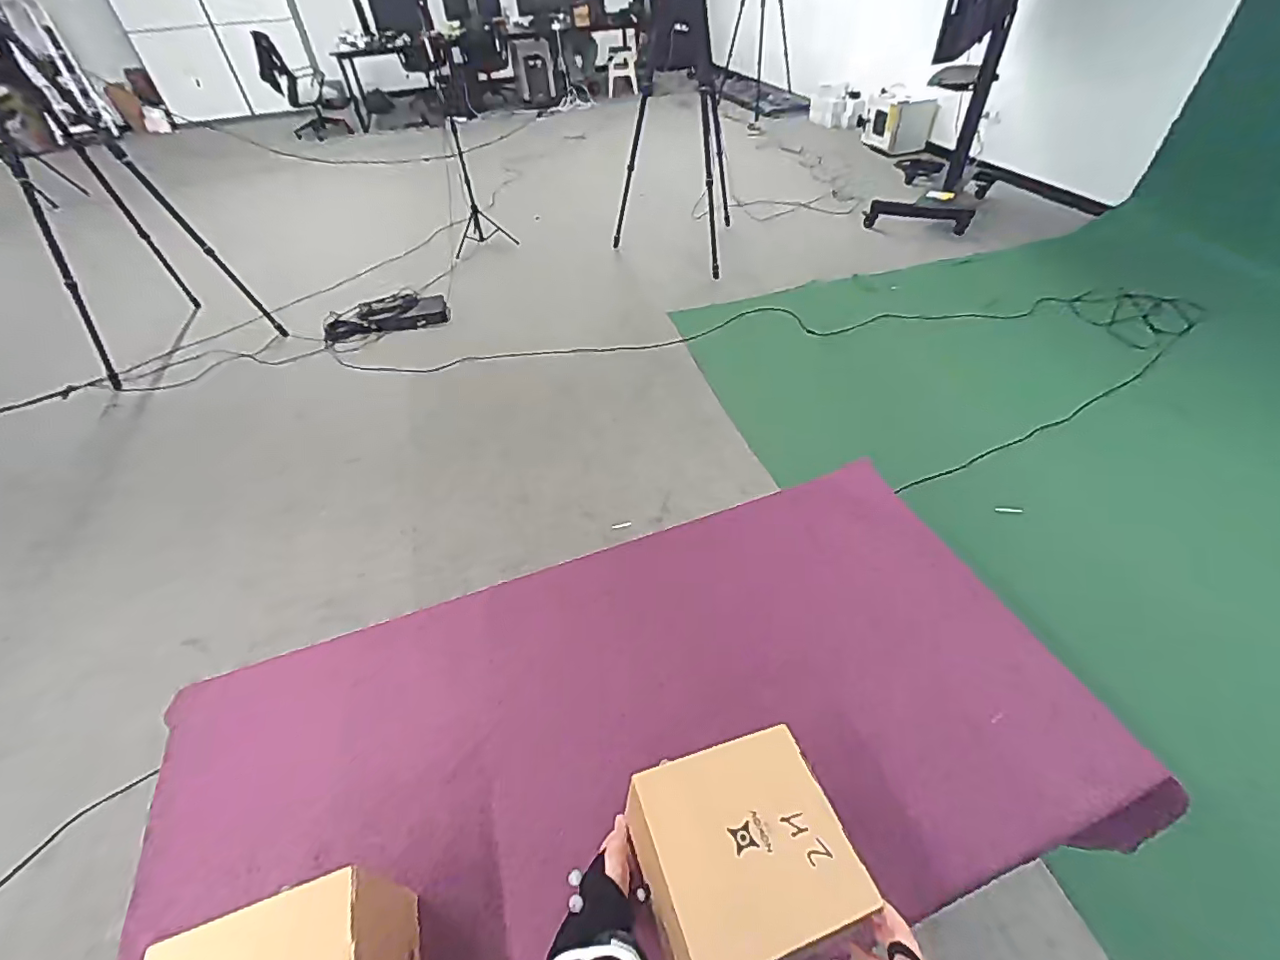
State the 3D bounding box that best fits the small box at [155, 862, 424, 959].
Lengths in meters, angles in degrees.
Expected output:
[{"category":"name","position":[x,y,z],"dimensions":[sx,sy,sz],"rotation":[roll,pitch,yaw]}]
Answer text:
[{"category":"small box","position":[-0.314,0.494,0.497],"dimensions":[0.179,0.176,0.168],"rotation":[-16,47,-13]}]
